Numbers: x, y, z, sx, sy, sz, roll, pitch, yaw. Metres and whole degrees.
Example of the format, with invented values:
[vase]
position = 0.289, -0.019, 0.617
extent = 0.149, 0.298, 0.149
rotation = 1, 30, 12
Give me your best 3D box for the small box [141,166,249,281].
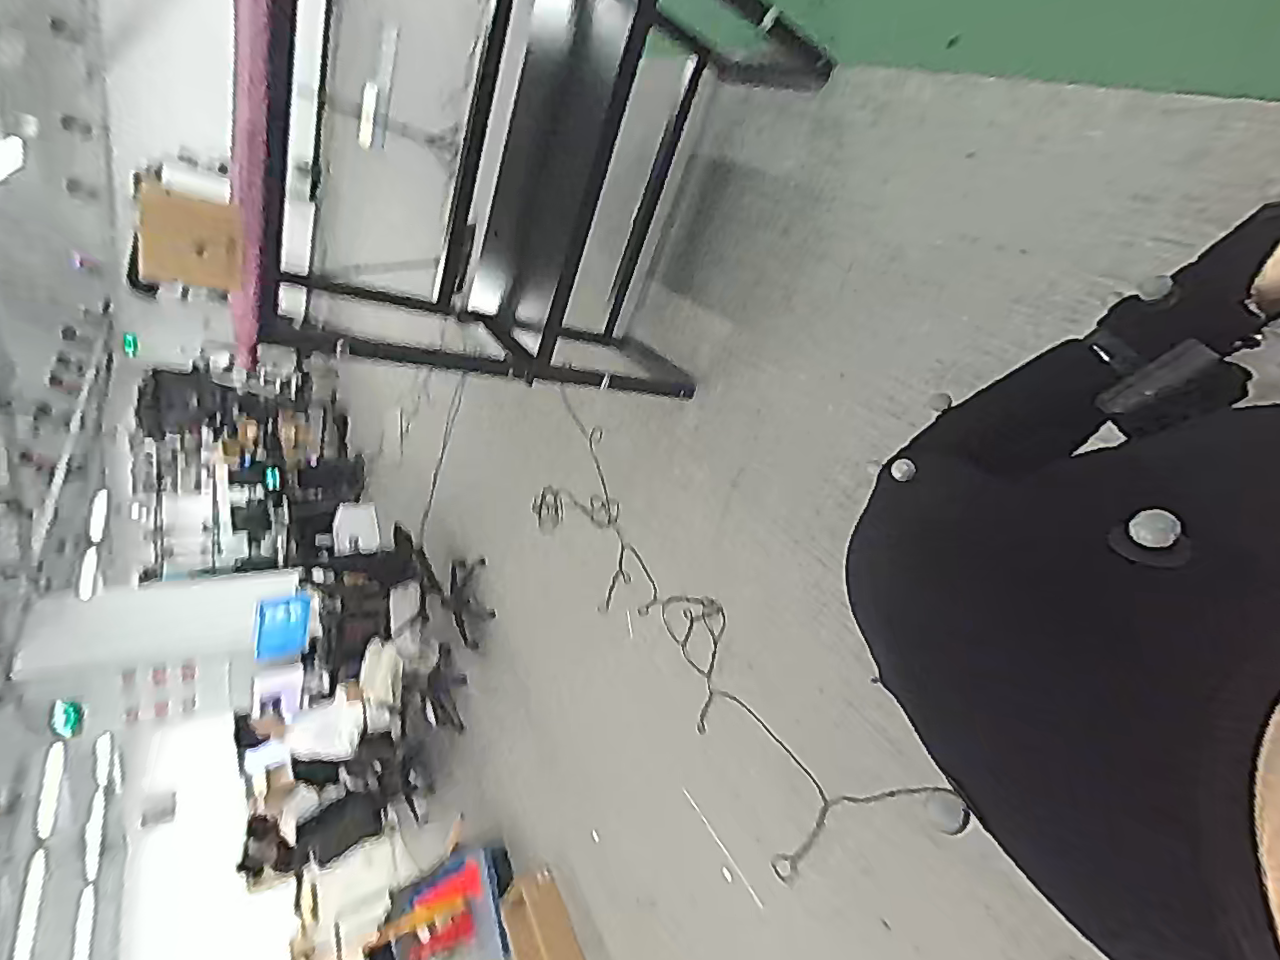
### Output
[small box]
position = -0.948, -0.542, 1.156
extent = 0.179, 0.176, 0.168
rotation = 43, 120, 41
